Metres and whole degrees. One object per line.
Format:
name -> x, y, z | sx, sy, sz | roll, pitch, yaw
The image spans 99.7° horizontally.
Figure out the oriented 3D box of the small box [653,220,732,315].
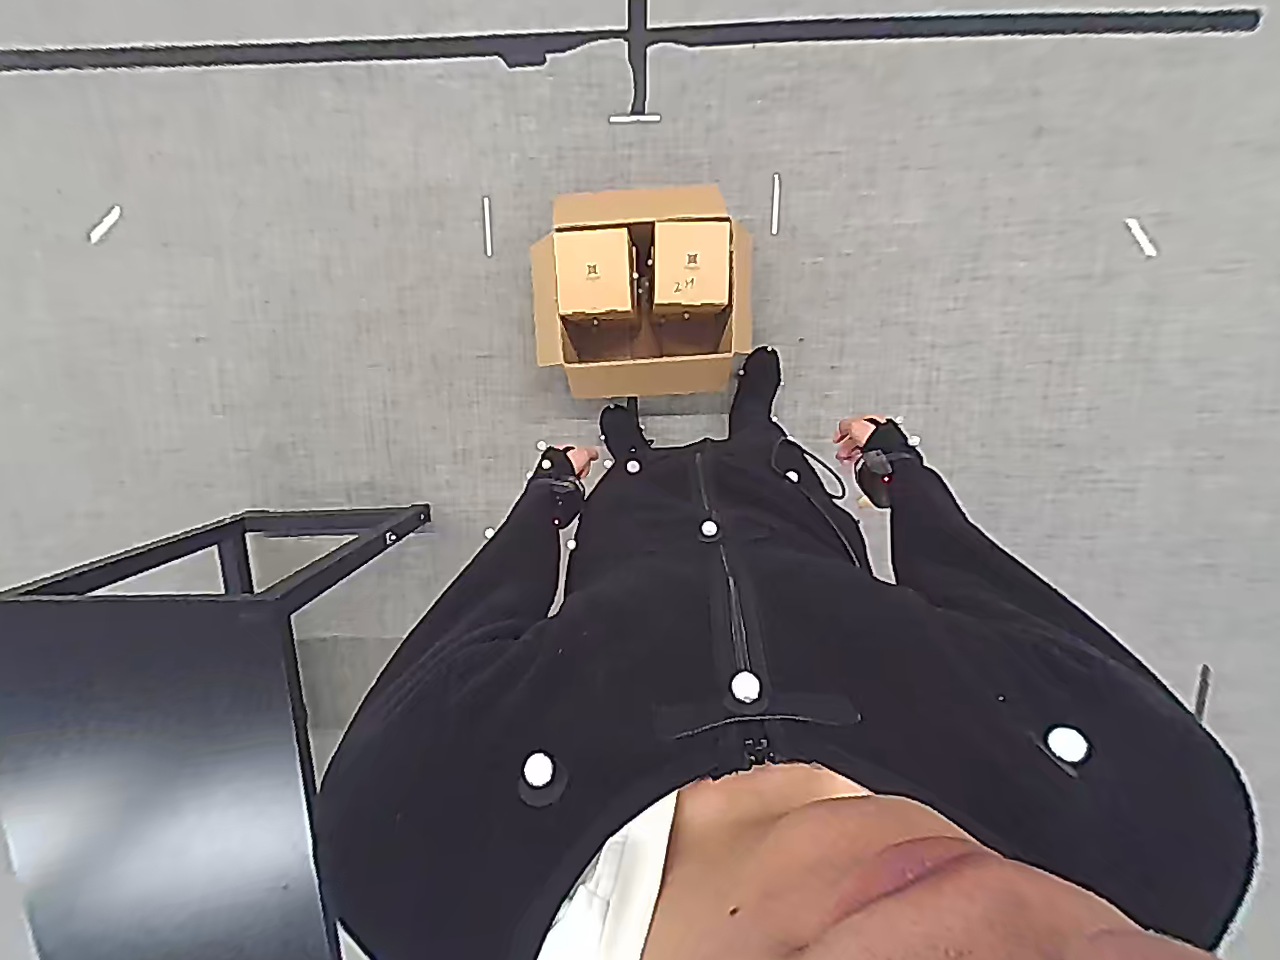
small box -> 0.115, -0.488, 1.260 | 0.168, 0.176, 0.179 | 1, 101, 1
